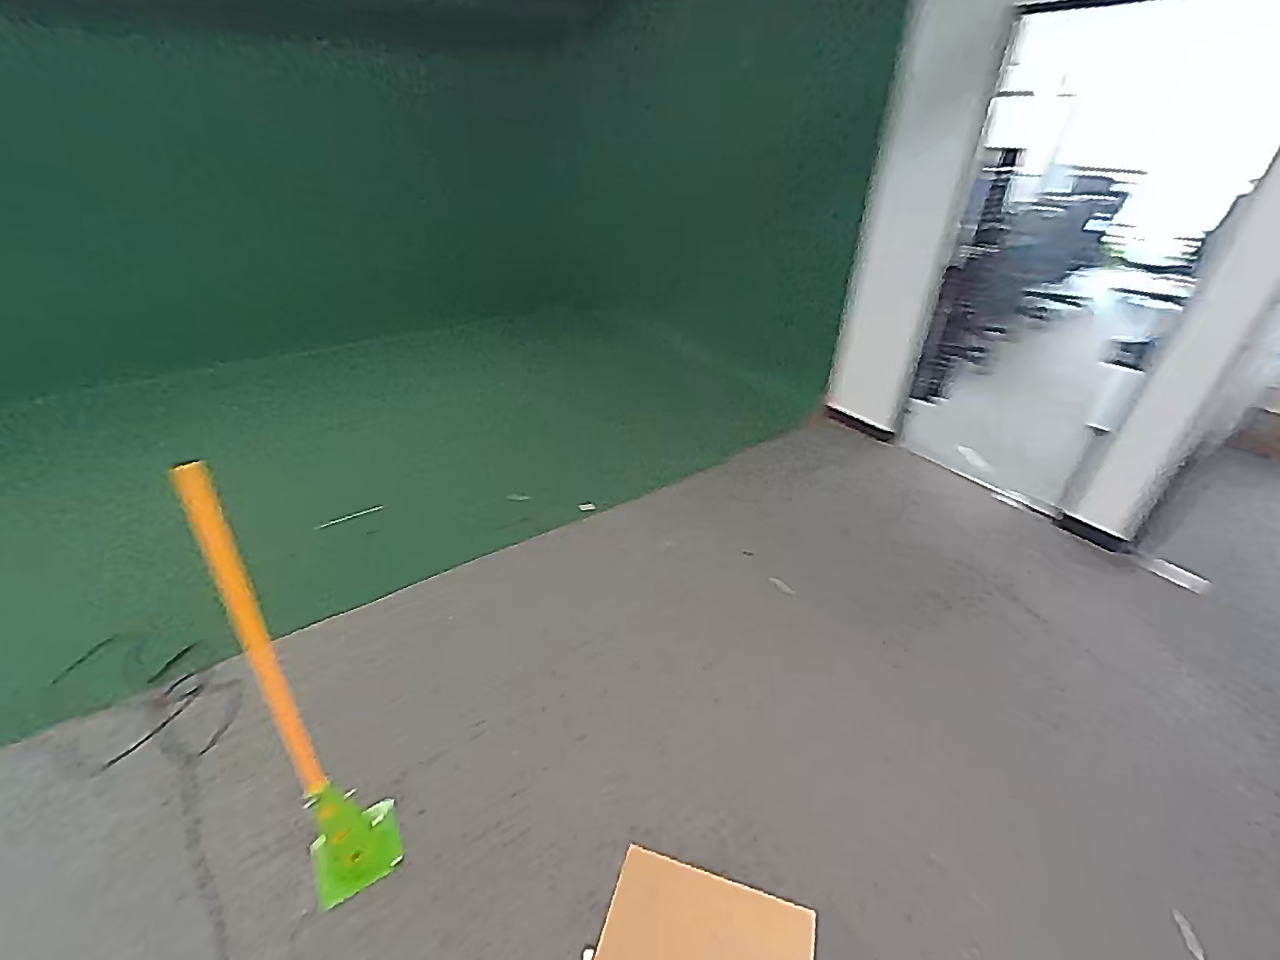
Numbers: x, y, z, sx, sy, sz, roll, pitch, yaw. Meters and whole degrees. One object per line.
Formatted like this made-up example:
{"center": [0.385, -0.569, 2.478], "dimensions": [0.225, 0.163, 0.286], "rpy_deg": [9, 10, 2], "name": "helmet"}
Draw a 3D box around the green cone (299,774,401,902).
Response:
{"center": [-0.768, 0.845, 1.362], "dimensions": [0.202, 0.368, 0.200], "rpy_deg": [-21, 39, -26], "name": "green cone"}
